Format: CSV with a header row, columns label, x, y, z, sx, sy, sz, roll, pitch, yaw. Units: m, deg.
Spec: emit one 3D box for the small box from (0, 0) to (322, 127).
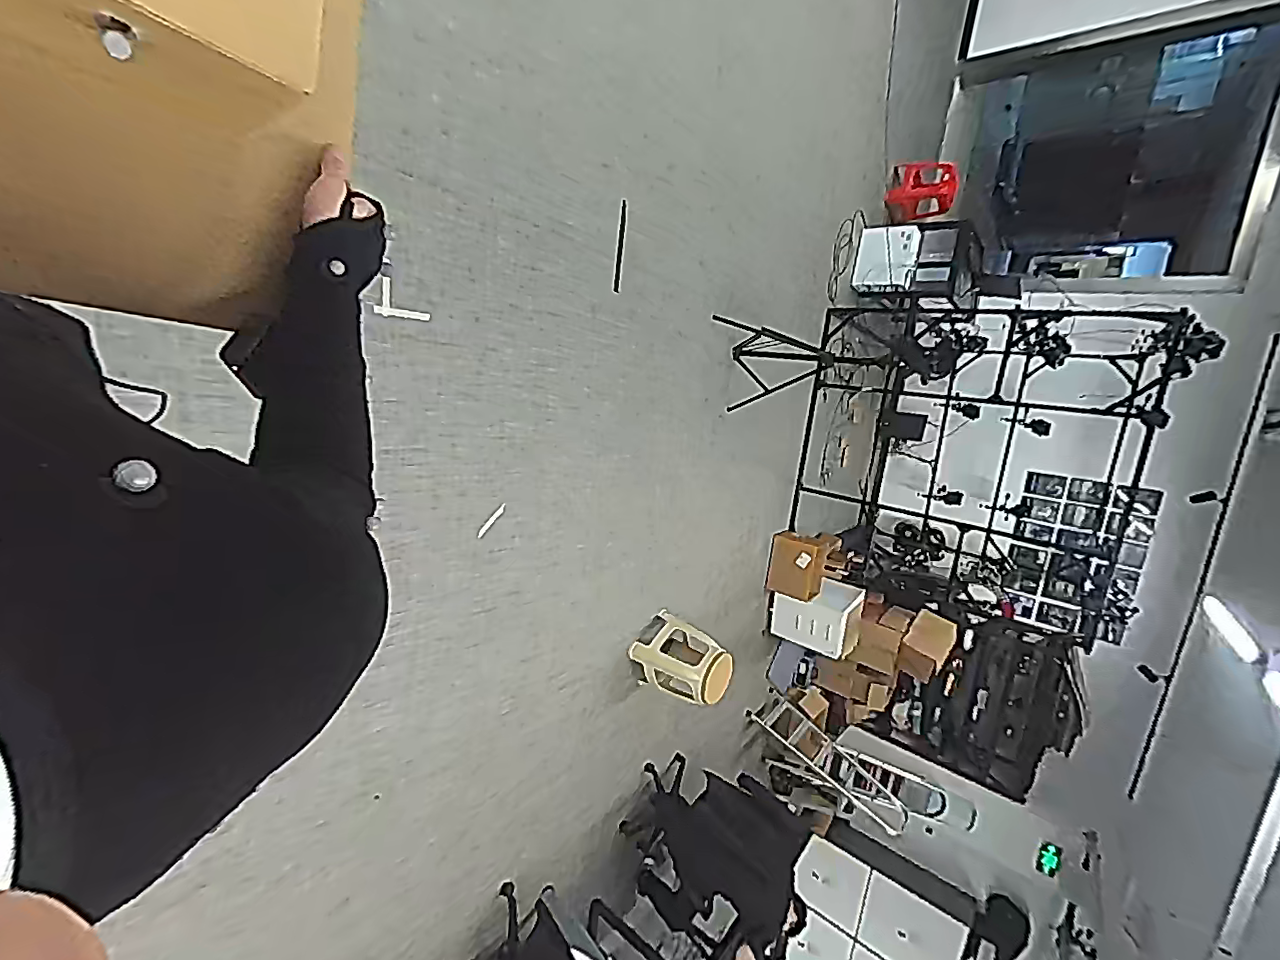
label,x,y,z,sx,sy,sz,roll,pitch,yaw
small box,-0.336,-0.369,0.362,0.179,0.176,0.168,1,101,-50
